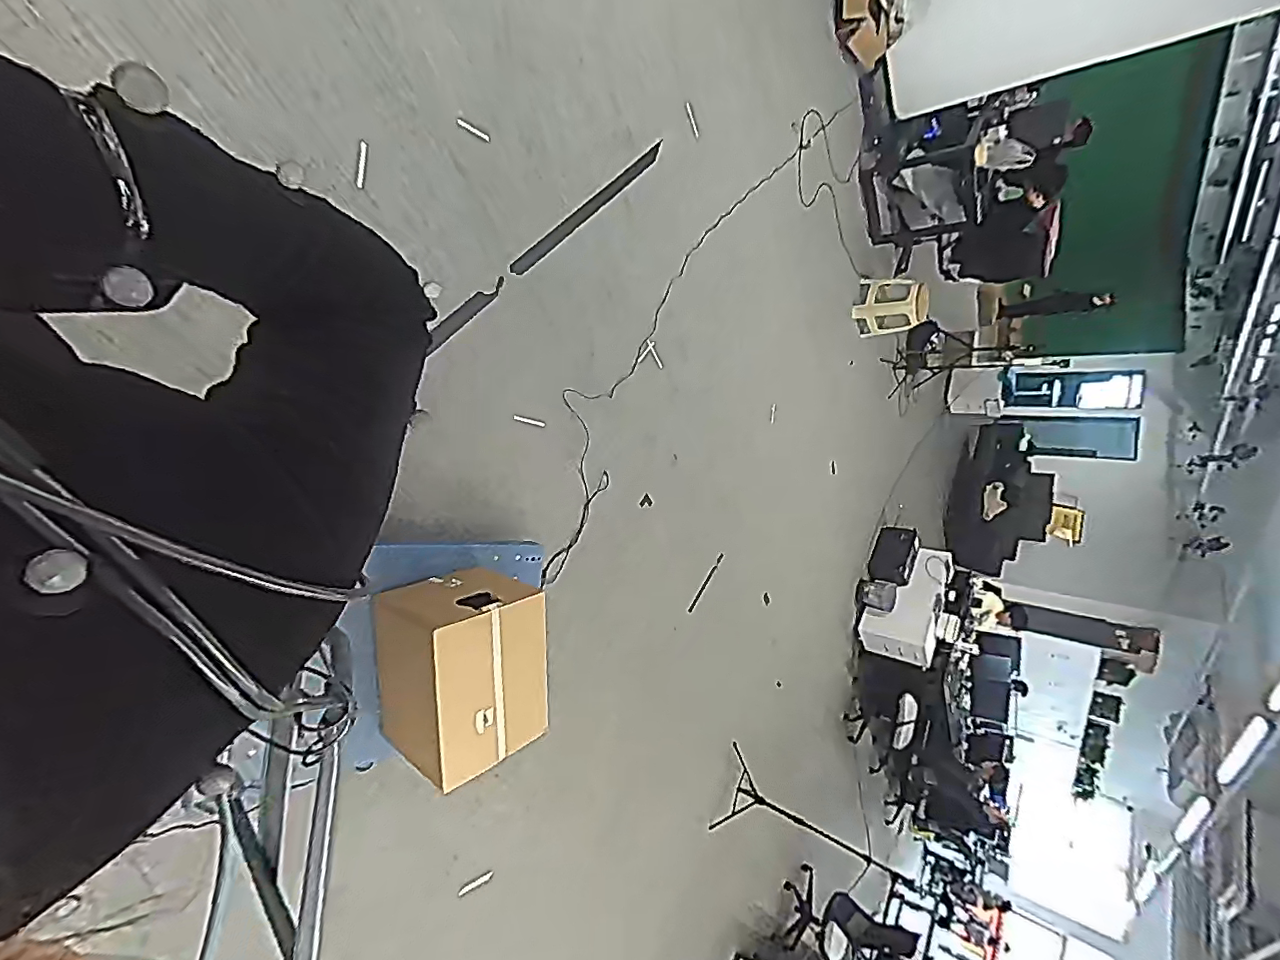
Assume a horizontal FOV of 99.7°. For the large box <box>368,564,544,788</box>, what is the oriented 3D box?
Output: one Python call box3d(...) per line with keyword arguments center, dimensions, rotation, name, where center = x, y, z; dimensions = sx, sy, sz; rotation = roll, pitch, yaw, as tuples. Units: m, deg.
box3d(center=(-0.470, 0.472, 1.402), dimensions=(0.320, 0.320, 0.408), rotation=(-10, 105, -48), name="large box")
